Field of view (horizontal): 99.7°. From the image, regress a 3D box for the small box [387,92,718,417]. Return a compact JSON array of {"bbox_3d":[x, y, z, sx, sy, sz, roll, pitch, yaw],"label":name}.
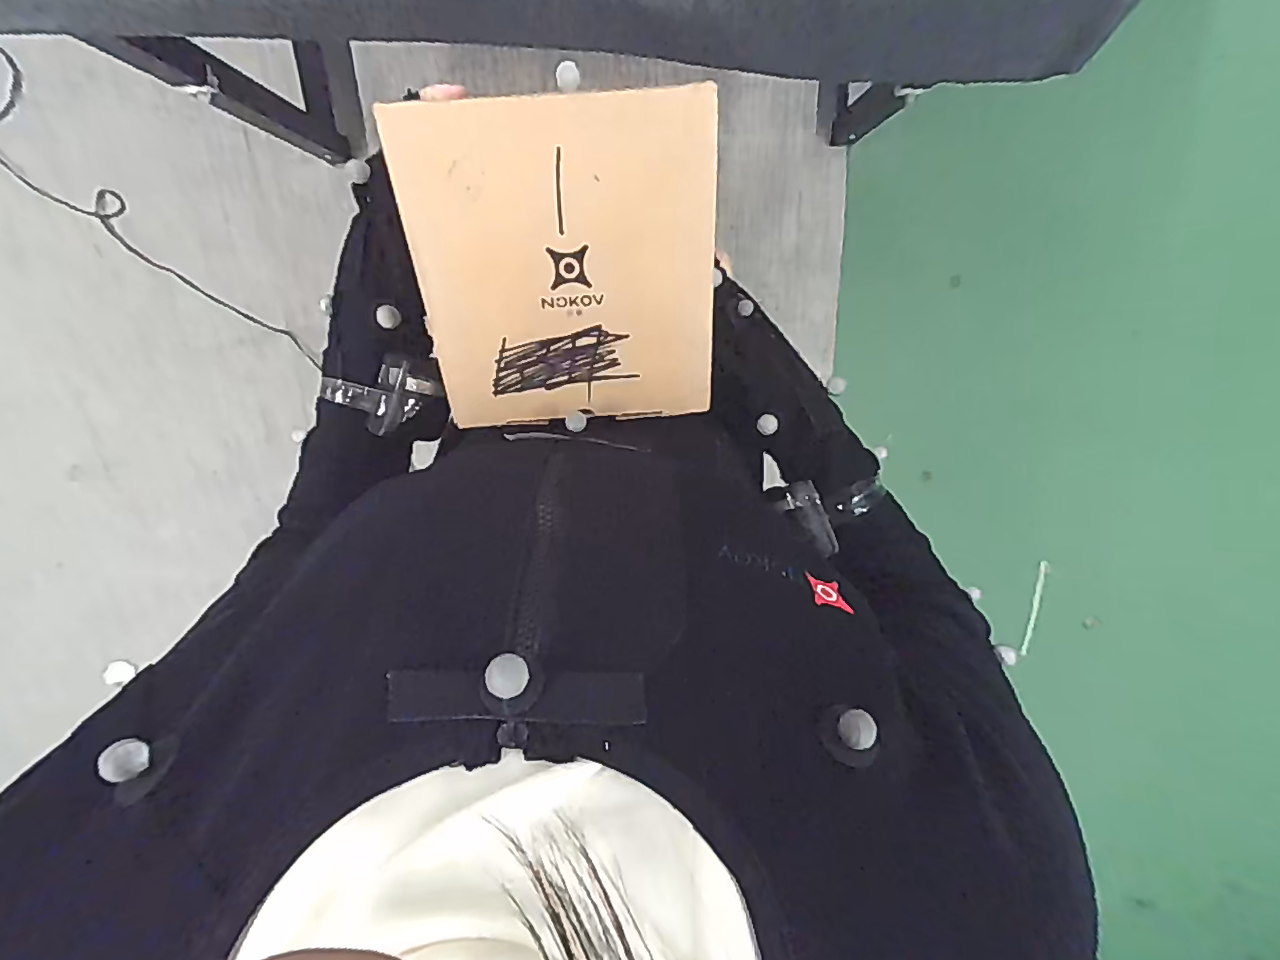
[{"bbox_3d":[-0.045,-0.161,0.378,0.168,0.176,0.179,-3,124,-2],"label":"small box"}]
